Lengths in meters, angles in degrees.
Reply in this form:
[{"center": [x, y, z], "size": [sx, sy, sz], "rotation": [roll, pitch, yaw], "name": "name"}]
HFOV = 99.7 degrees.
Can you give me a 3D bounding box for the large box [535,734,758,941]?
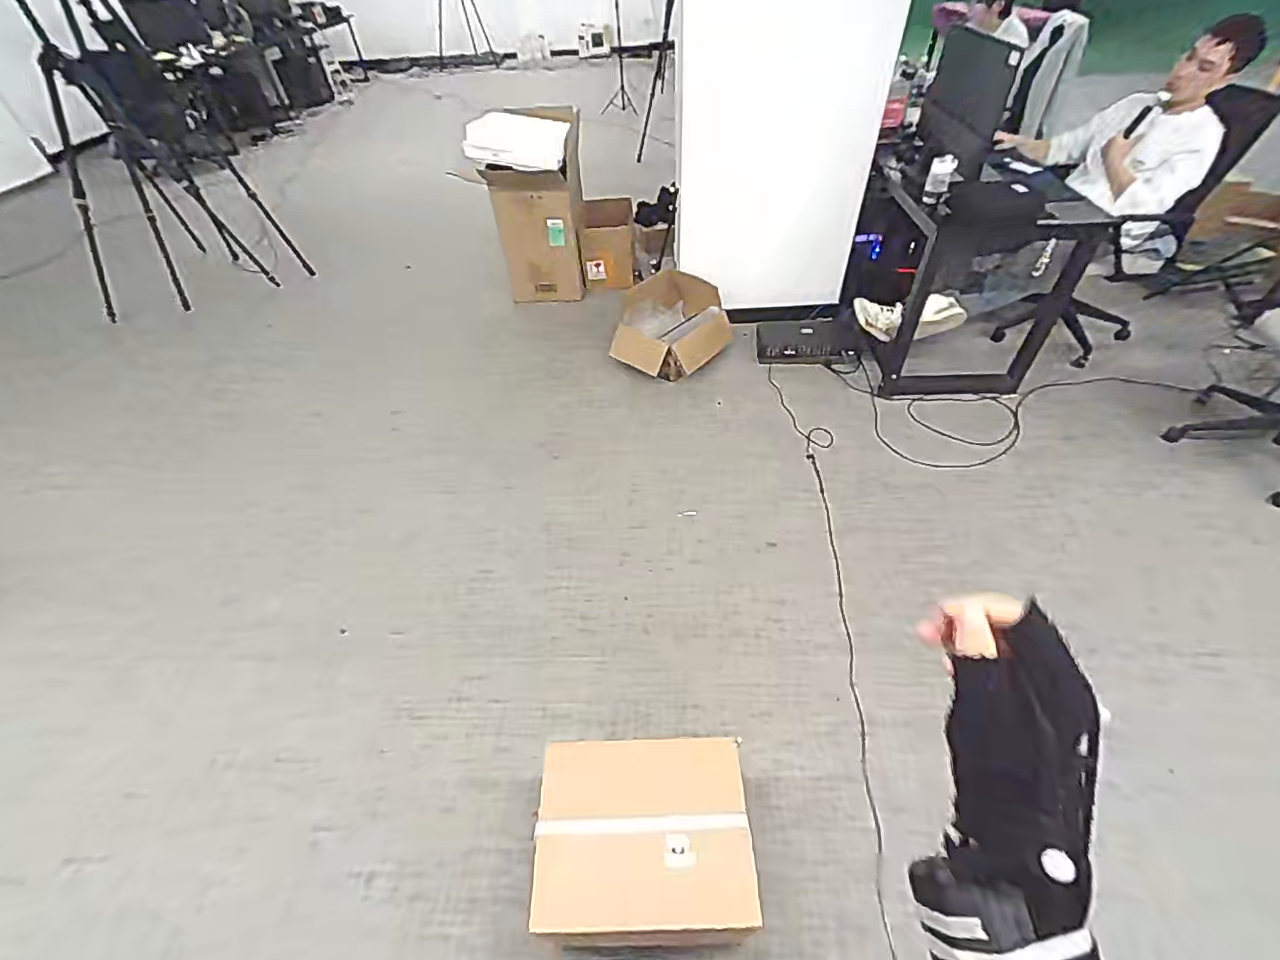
[{"center": [0.010, 0.764, 1.156], "size": [0.408, 0.320, 0.320], "rotation": [-2, 46, 1], "name": "large box"}]
